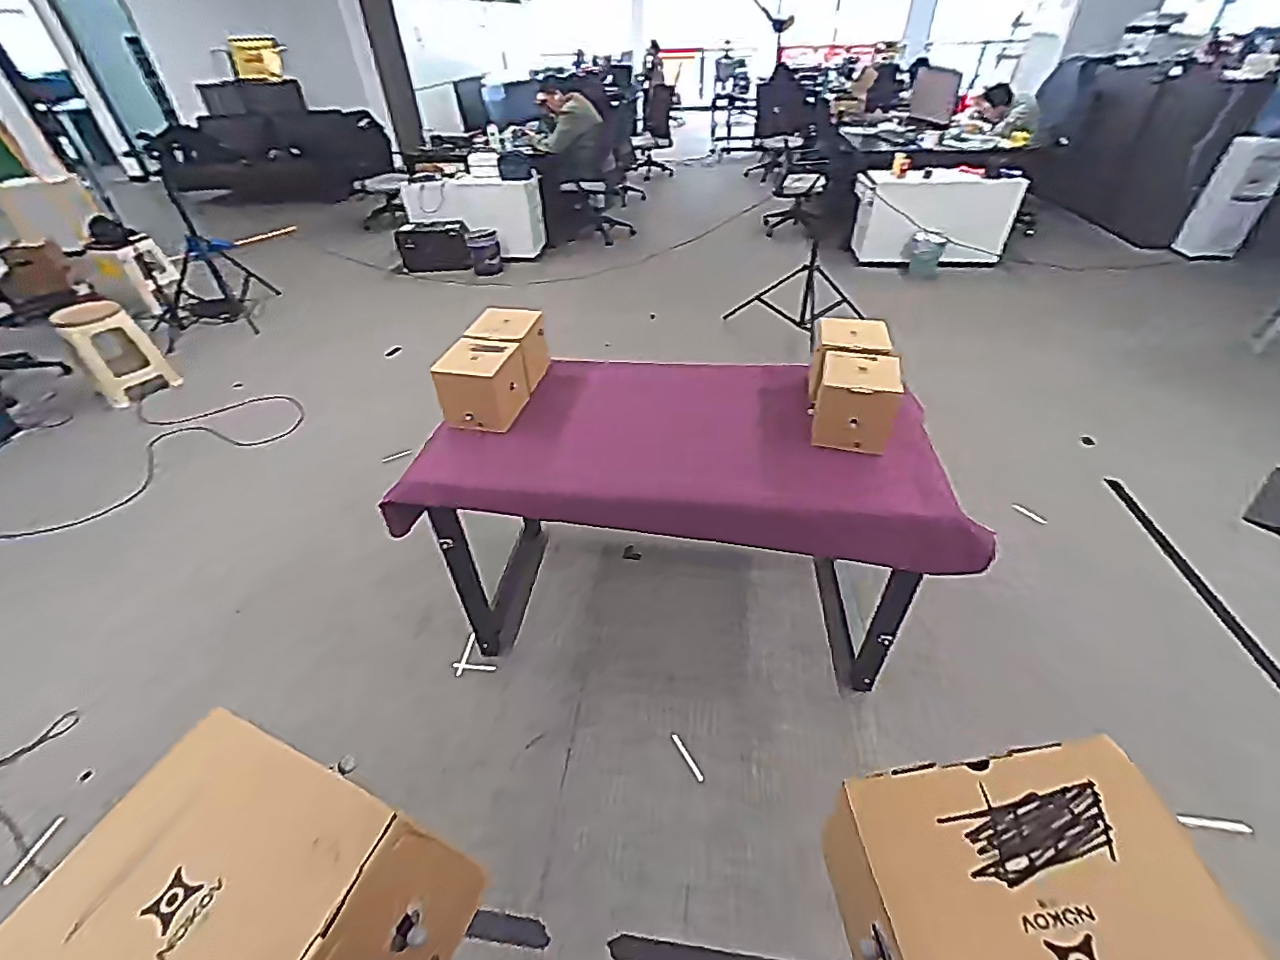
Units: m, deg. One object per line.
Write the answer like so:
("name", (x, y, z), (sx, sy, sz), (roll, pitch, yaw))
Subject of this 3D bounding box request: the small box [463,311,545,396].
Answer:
("small box", (-0.375, -0.360, 1.533), (0.168, 0.176, 0.179), (6, 42, 9))

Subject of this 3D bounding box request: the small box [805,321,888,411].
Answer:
("small box", (0.536, -0.304, 1.431), (0.168, 0.176, 0.179), (6, 40, 9))

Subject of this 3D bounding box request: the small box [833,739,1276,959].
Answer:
("small box", (0.229, 0.286, 0.325), (0.168, 0.176, 0.179), (-11, 45, 2))

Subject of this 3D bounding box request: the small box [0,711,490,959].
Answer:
("small box", (-0.226, 0.286, 0.345), (0.179, 0.176, 0.168), (11, 46, 23))
